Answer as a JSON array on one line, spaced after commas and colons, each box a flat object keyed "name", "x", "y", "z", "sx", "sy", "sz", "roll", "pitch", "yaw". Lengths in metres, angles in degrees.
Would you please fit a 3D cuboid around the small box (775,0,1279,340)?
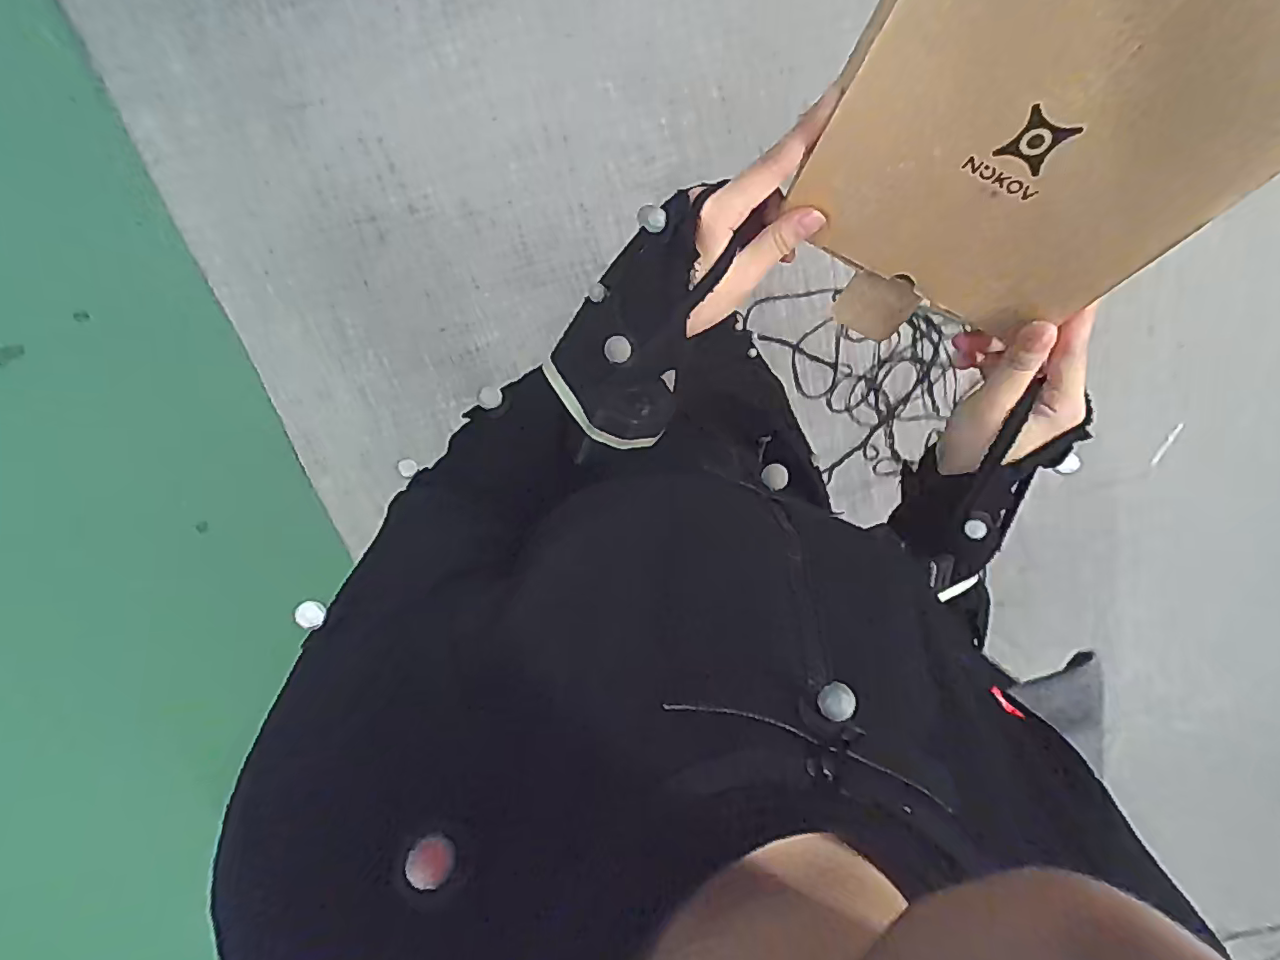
[{"name": "small box", "x": 0.194, "y": -0.213, "z": 0.270, "sx": 0.168, "sy": 0.179, "sz": 0.176, "roll": 24, "pitch": 65, "yaw": -1}]
